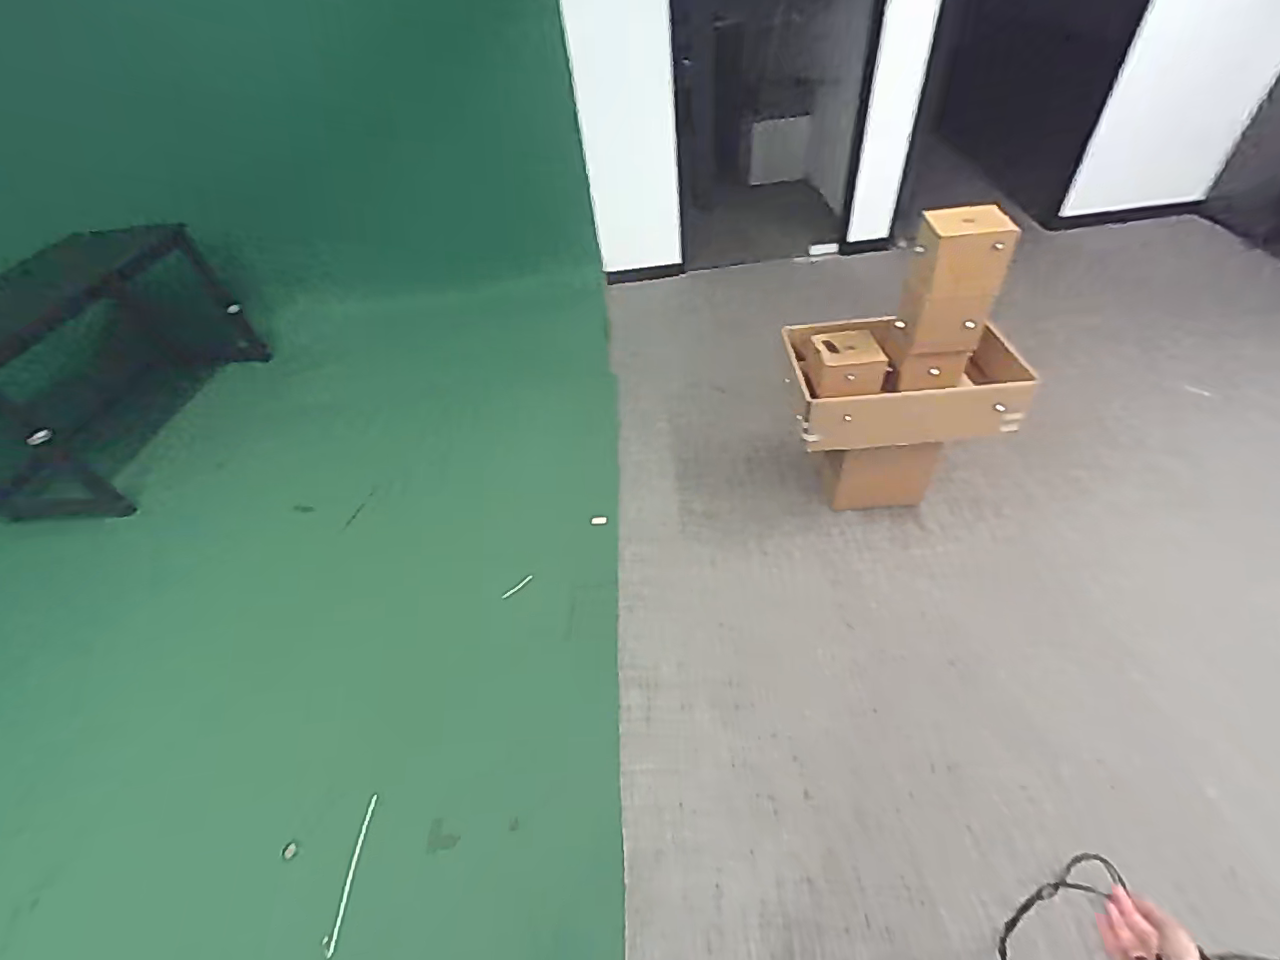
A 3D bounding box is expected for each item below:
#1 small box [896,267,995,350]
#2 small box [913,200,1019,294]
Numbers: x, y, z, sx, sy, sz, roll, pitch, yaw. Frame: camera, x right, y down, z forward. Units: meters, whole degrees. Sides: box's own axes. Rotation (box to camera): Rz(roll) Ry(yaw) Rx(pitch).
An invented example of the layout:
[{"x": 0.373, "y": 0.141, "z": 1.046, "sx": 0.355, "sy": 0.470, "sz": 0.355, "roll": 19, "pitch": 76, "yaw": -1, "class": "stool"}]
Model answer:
[{"x": 0.837, "y": -0.480, "z": 1.501, "sx": 0.179, "sy": 0.176, "sz": 0.168, "roll": -4, "pitch": 46, "yaw": 8, "class": "small box"}, {"x": 0.819, "y": -0.592, "z": 1.385, "sx": 0.179, "sy": 0.176, "sz": 0.168, "roll": -2, "pitch": 46, "yaw": 9, "class": "small box"}]
